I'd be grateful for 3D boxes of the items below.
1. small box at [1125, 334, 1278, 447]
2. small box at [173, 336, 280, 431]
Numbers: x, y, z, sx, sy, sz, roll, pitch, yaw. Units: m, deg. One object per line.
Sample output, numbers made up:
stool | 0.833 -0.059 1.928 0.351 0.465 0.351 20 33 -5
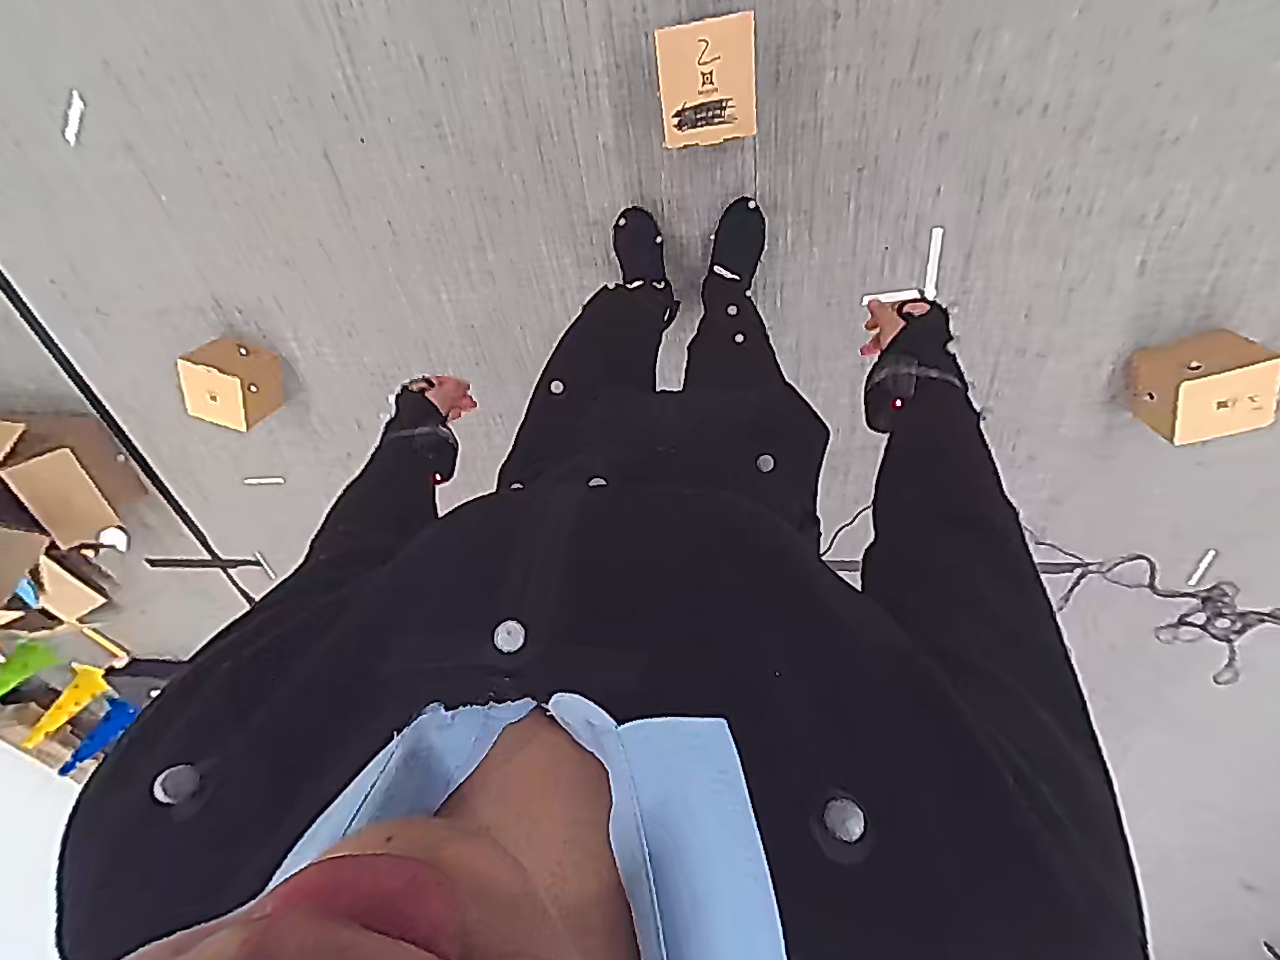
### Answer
small box | 1.237 -0.204 1.211 0.179 0.176 0.168 -16 121 18
small box | -1.132 -0.270 1.499 0.168 0.176 0.179 19 125 -5
